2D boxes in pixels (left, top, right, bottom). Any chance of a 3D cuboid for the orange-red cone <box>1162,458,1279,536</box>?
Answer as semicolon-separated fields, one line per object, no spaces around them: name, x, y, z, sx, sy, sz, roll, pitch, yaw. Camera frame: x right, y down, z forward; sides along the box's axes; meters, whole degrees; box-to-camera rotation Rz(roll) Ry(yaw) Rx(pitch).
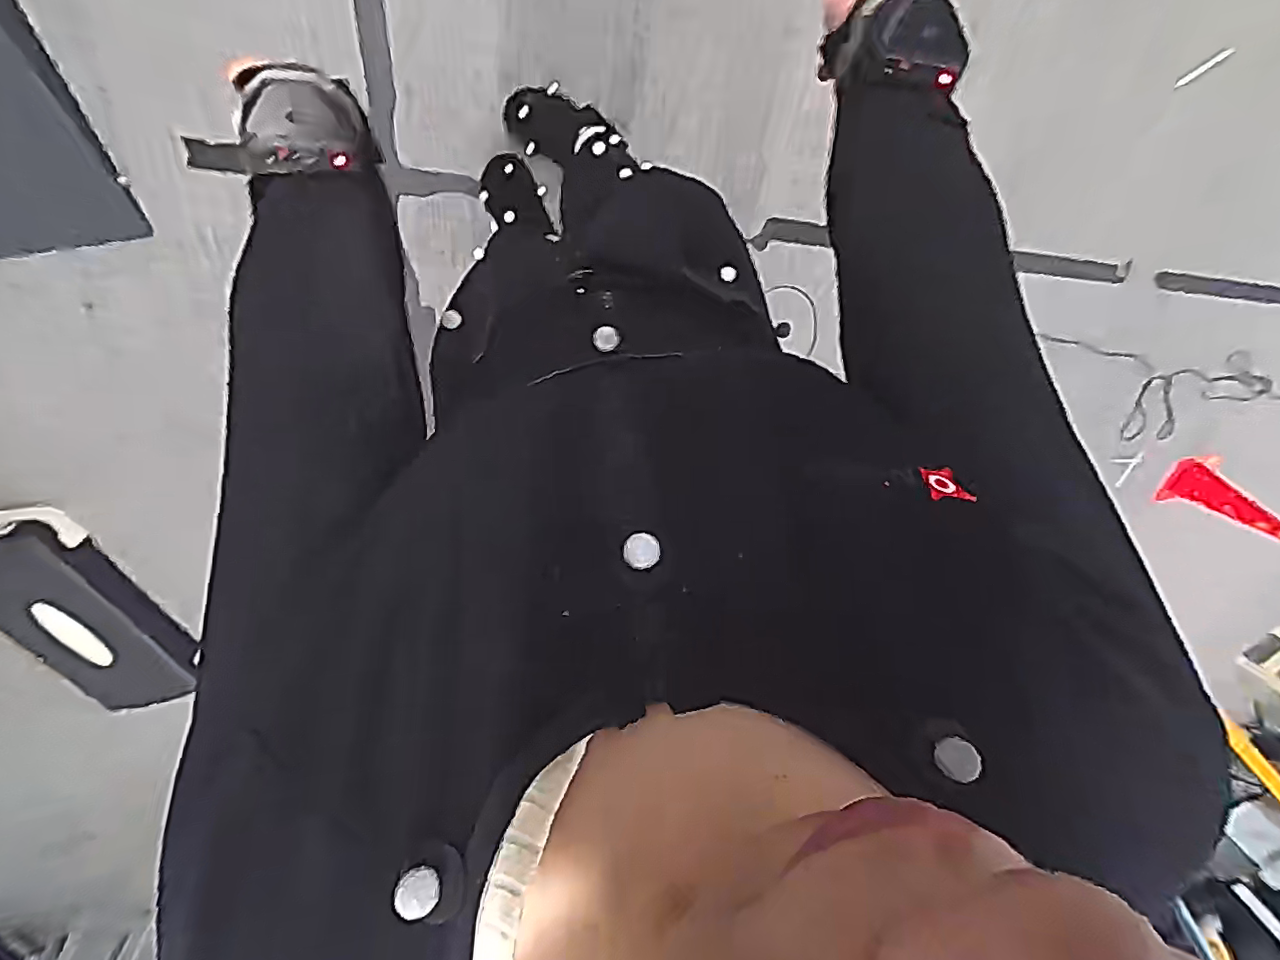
orange-red cone;2.145;0.095;1.920;0.198;0.360;0.199;-4;124;-11
